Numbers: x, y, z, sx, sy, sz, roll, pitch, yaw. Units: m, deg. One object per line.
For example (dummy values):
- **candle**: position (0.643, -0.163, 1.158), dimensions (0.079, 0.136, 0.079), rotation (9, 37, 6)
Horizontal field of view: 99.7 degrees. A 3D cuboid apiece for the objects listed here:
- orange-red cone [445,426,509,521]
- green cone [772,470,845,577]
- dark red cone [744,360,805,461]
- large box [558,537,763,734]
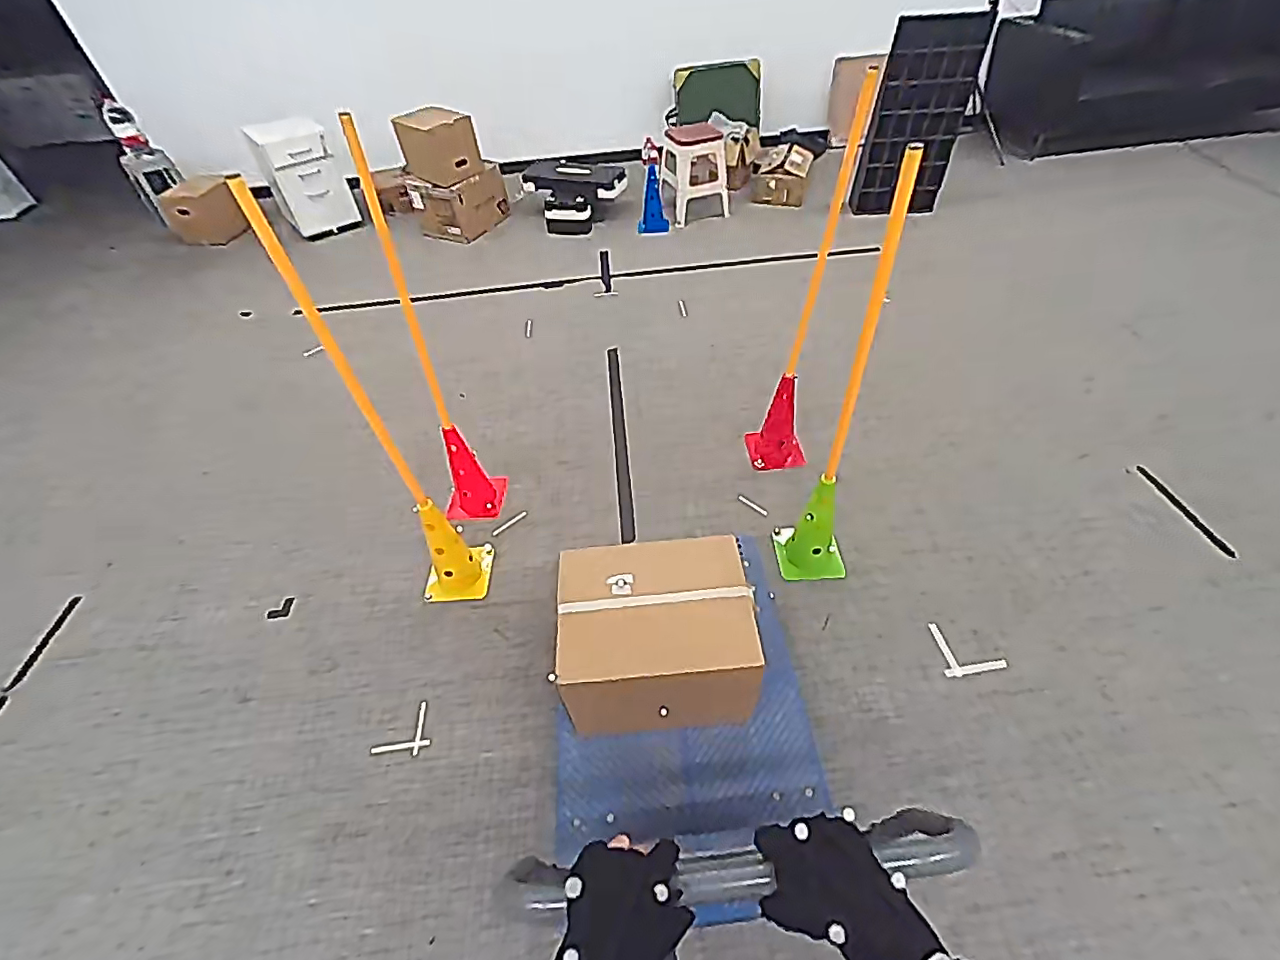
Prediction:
- **orange-red cone**: position (-0.606, -0.045, 1.880), dimensions (0.198, 0.360, 0.199), rotation (0, 46, 3)
- **green cone**: position (0.535, 0.111, 1.630), dimensions (0.202, 0.368, 0.200), rotation (-3, 47, 1)
- **dark red cone**: position (0.506, -0.255, 1.947), dimensions (0.201, 0.394, 0.202), rotation (-6, 48, -3)
- **large box**: position (0.041, 0.363, 1.246), dimensions (0.408, 0.320, 0.320), rotation (-6, 47, 1)
